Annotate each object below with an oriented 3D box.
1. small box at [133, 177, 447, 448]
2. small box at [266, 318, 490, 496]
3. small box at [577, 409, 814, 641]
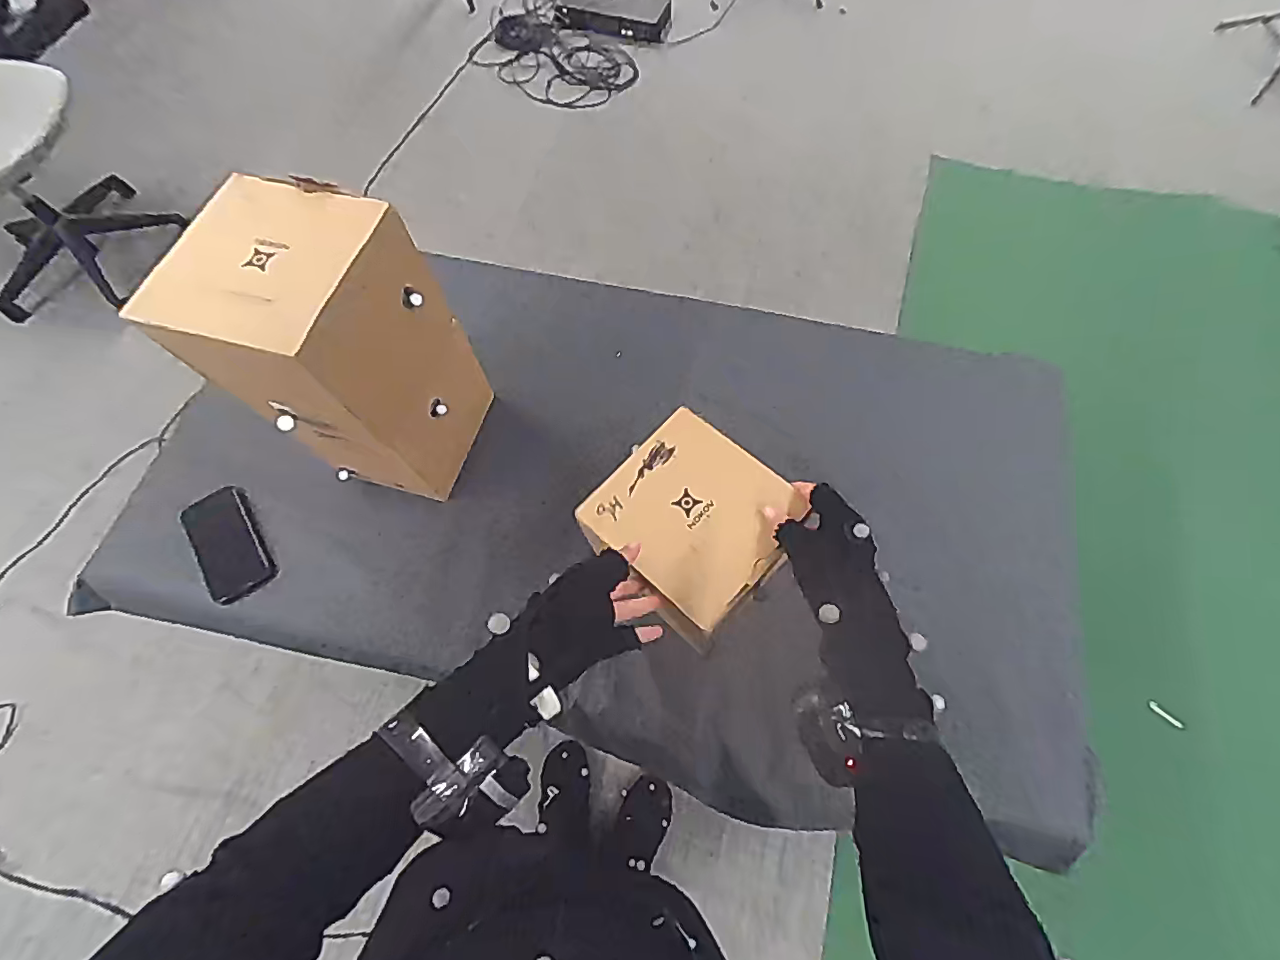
[{"bbox_3d":[-0.317,-0.158,0.539,0.168,0.176,0.179,13,68,8],"label":"small box"},{"bbox_3d":[-0.312,-0.098,0.690,0.168,0.176,0.179,14,67,8],"label":"small box"},{"bbox_3d":[0.060,0.061,0.604,0.168,0.176,0.179,-42,70,-13],"label":"small box"}]
